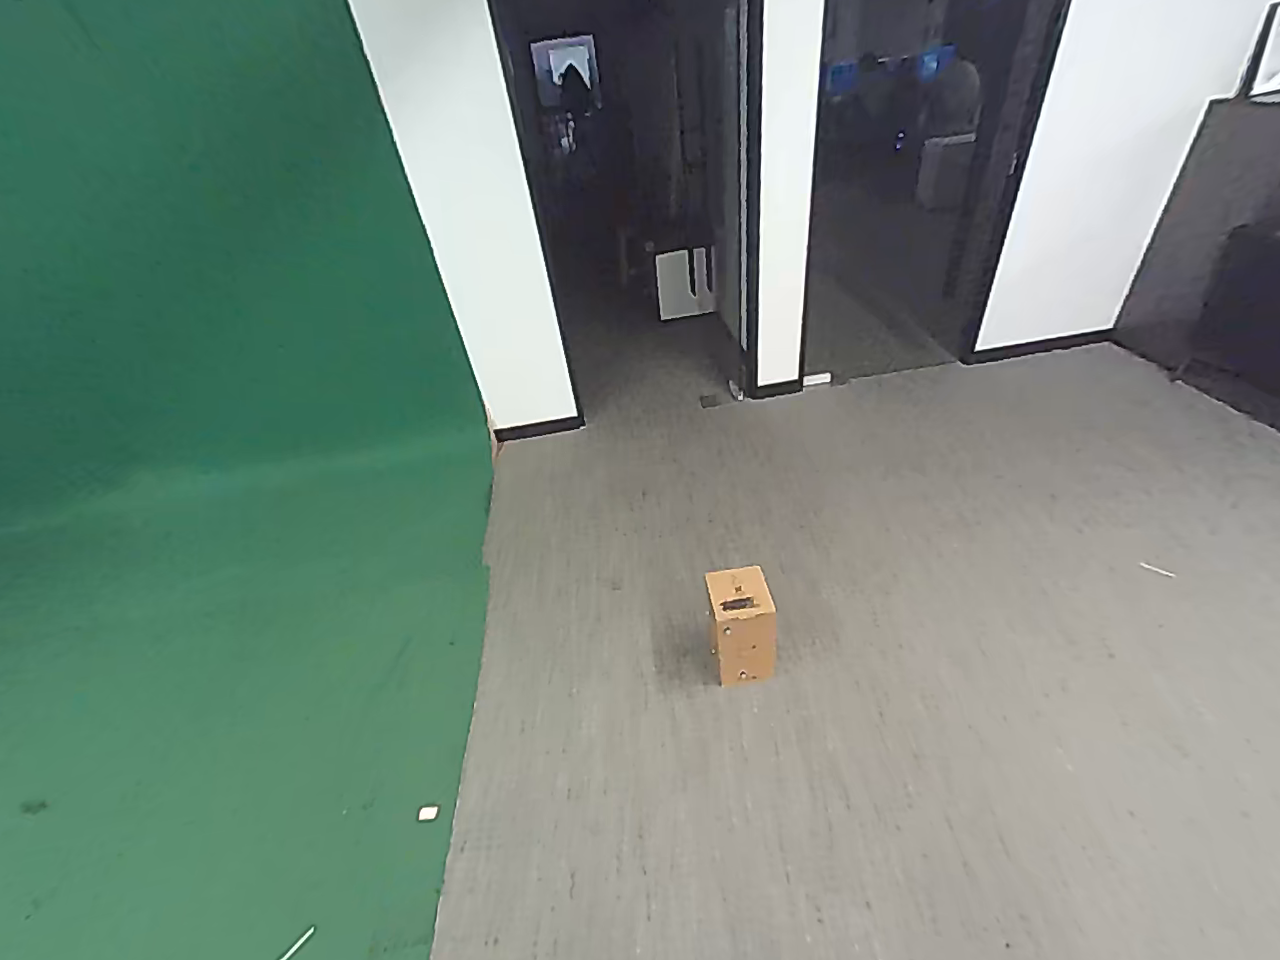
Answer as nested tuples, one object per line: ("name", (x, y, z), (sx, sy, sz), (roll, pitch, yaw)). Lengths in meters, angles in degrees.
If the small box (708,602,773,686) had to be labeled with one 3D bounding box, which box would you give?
("small box", (0.305, 0.509, 1.678), (0.168, 0.176, 0.179), (-8, 38, -1))
